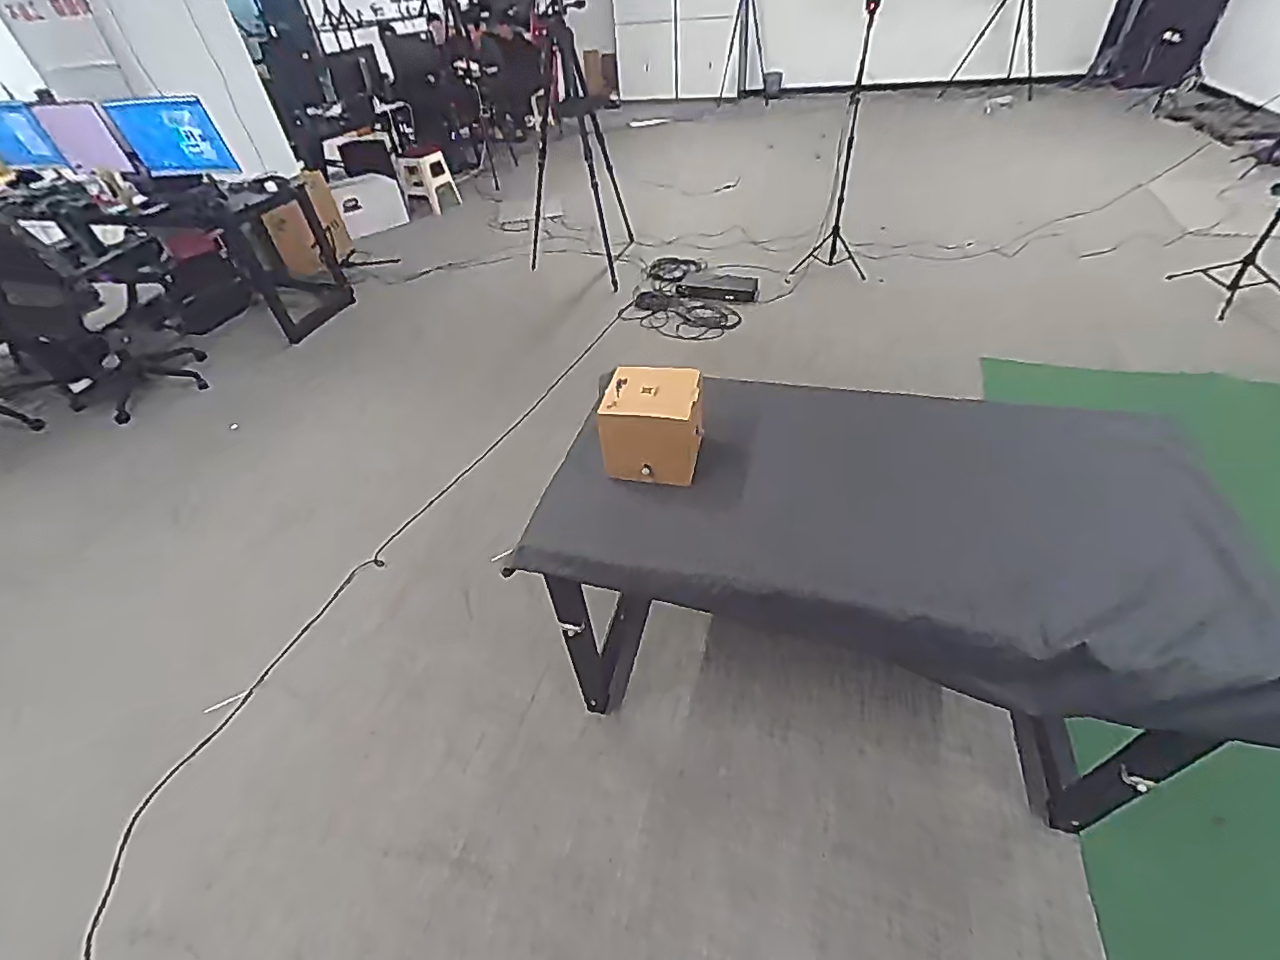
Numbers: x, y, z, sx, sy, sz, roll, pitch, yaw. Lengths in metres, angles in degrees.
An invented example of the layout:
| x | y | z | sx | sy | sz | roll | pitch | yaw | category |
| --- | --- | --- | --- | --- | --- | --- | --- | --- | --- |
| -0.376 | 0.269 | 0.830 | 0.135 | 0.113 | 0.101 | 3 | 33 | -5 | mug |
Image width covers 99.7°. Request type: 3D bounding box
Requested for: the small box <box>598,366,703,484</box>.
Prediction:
| x | y | z | sx | sy | sz | roll | pitch | yaw | category |
| --- | --- | --- | --- | --- | --- | --- | --- | --- | --- |
| 0.028 | -0.110 | 1.098 | 0.179 | 0.176 | 0.168 | 7 | 44 | 11 | small box |
